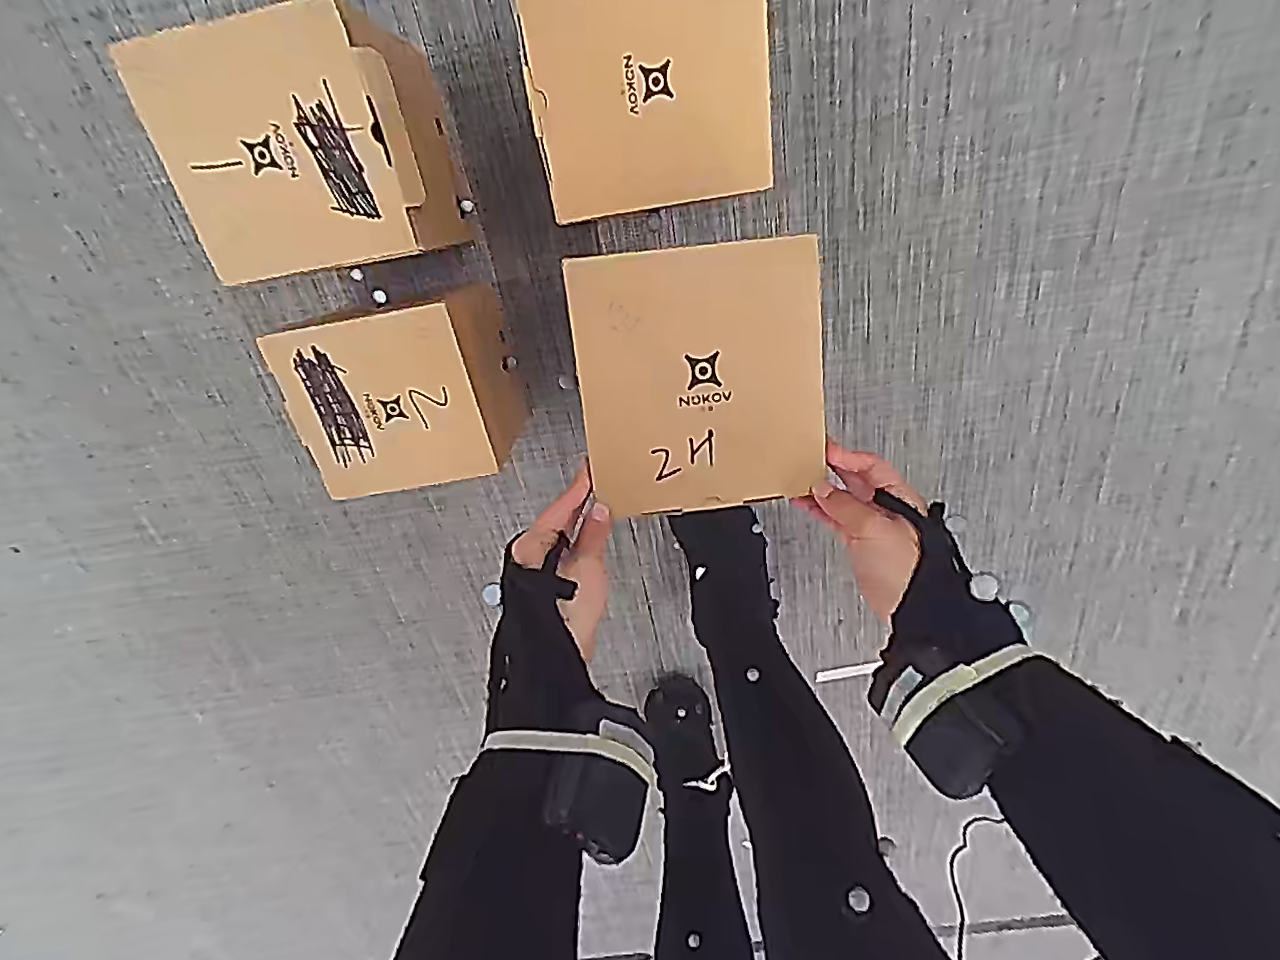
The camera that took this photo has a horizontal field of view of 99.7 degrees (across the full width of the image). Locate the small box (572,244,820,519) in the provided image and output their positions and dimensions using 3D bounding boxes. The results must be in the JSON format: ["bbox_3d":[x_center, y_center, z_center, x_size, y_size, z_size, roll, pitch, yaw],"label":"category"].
[{"bbox_3d":[0.037,-0.080,0.449,0.168,0.176,0.179,-7,103,-2],"label":"small box"}]
